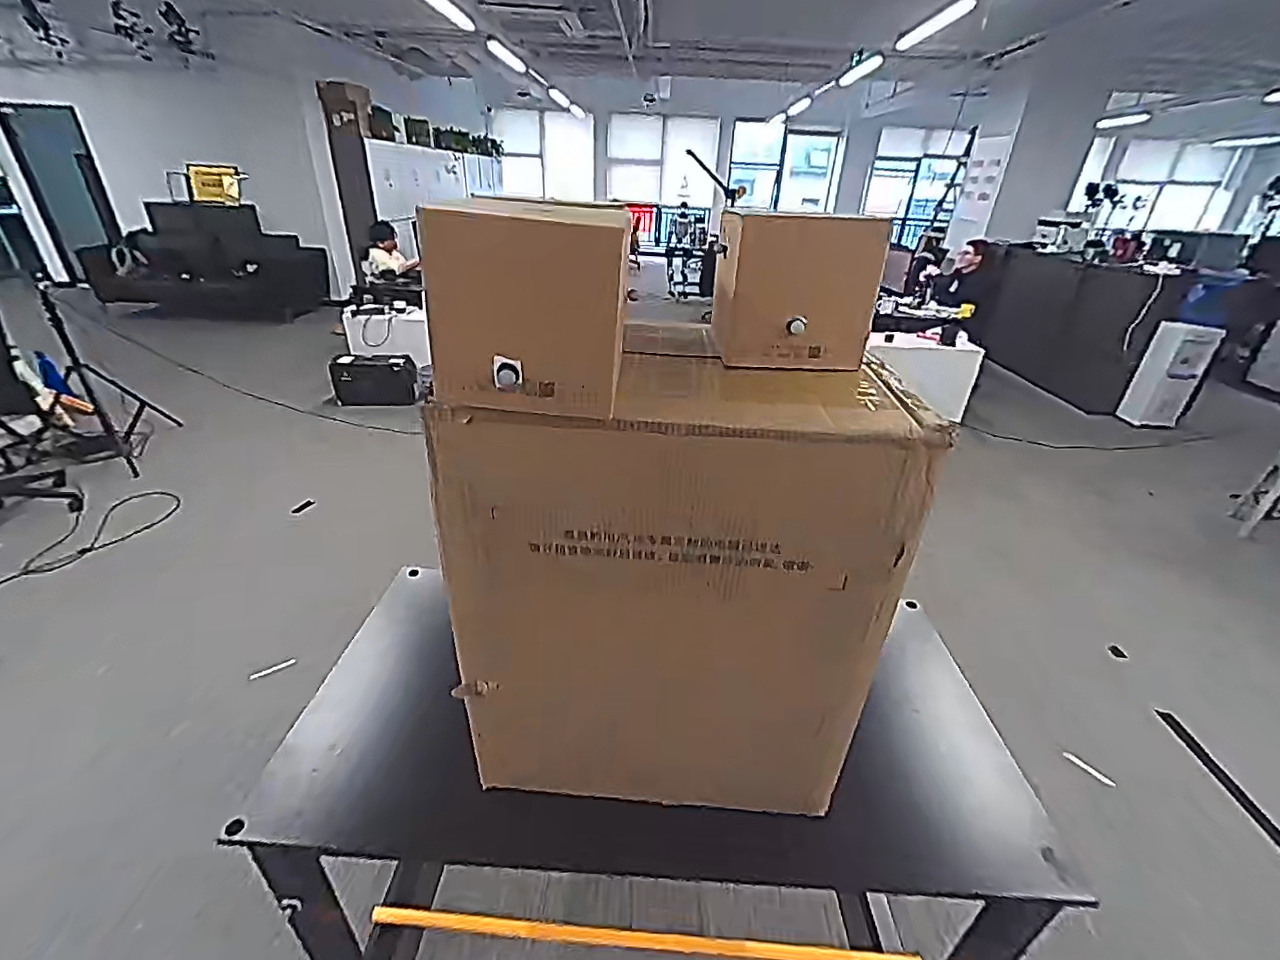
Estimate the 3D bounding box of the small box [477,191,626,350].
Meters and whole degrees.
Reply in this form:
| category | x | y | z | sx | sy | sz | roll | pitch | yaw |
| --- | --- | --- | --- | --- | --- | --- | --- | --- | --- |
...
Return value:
| category | x | y | z | sx | sy | sz | roll | pitch | yaw |
| --- | --- | --- | --- | --- | --- | --- | --- | --- | --- |
| small box | -0.108 | -0.280 | 0.718 | 0.168 | 0.176 | 0.179 | 3 | 27 | -1 |

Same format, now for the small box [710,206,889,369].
| category | x | y | z | sx | sy | sz | roll | pitch | yaw |
| --- | --- | --- | --- | --- | --- | --- | --- | --- | --- |
| small box | 0.183 | -0.248 | 0.685 | 0.168 | 0.176 | 0.179 | 1 | 28 | 0 |
